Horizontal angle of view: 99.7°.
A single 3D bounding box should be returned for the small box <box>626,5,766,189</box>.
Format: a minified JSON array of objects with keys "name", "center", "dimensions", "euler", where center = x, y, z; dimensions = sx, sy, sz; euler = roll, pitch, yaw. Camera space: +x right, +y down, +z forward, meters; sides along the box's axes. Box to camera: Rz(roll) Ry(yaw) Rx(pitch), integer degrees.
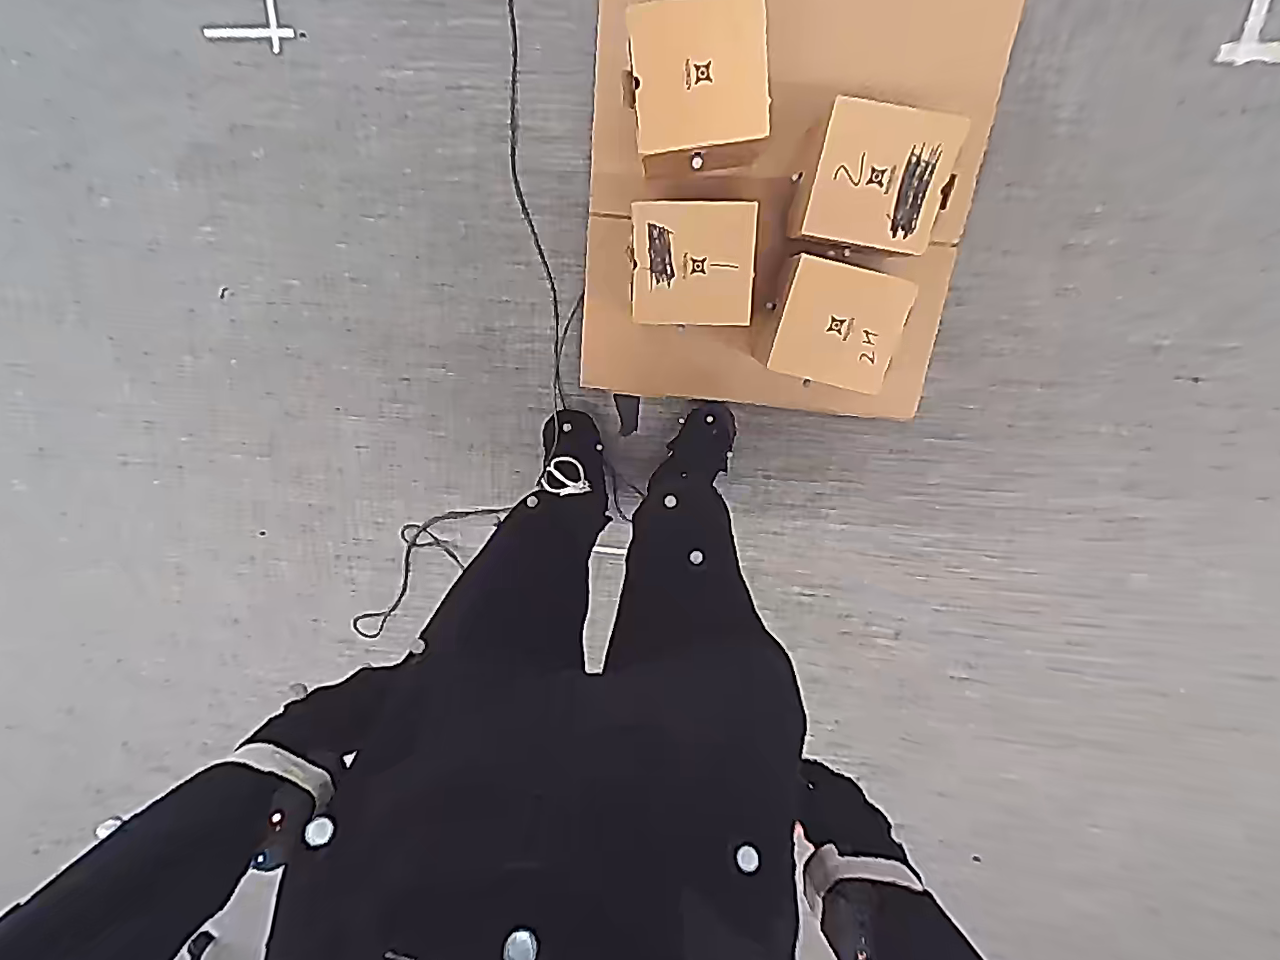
[{"name":"small box","center":[0.080,-0.535,0.782],"dimensions":[0.179,0.176,0.168],"euler":[-5,108,7]}]
